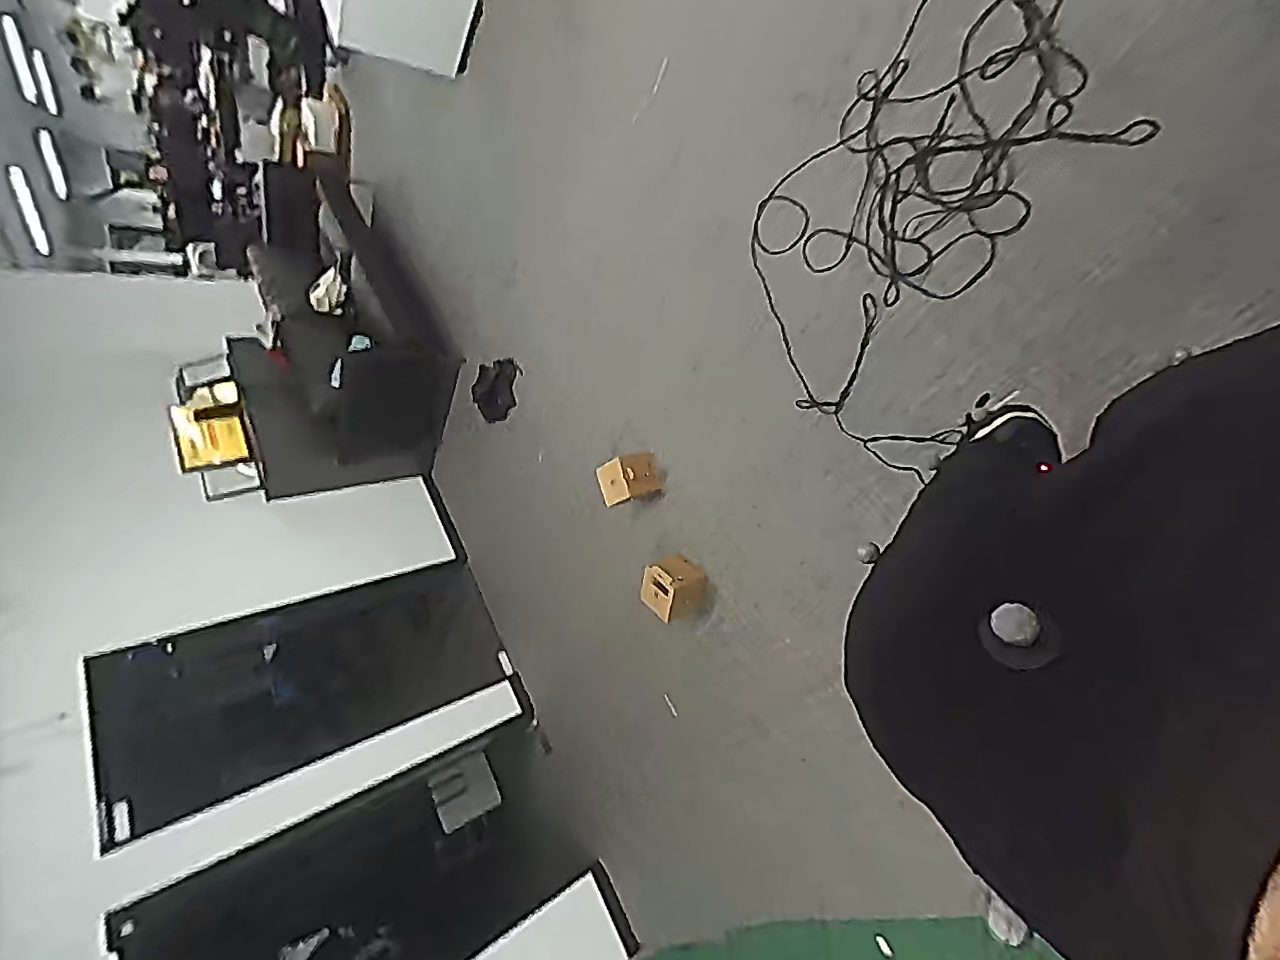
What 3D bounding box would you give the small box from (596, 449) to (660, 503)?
[{"bbox_3d":[-0.047,-0.015,2.186,0.179,0.176,0.168,-28,77,50],"label":"small box"}]
